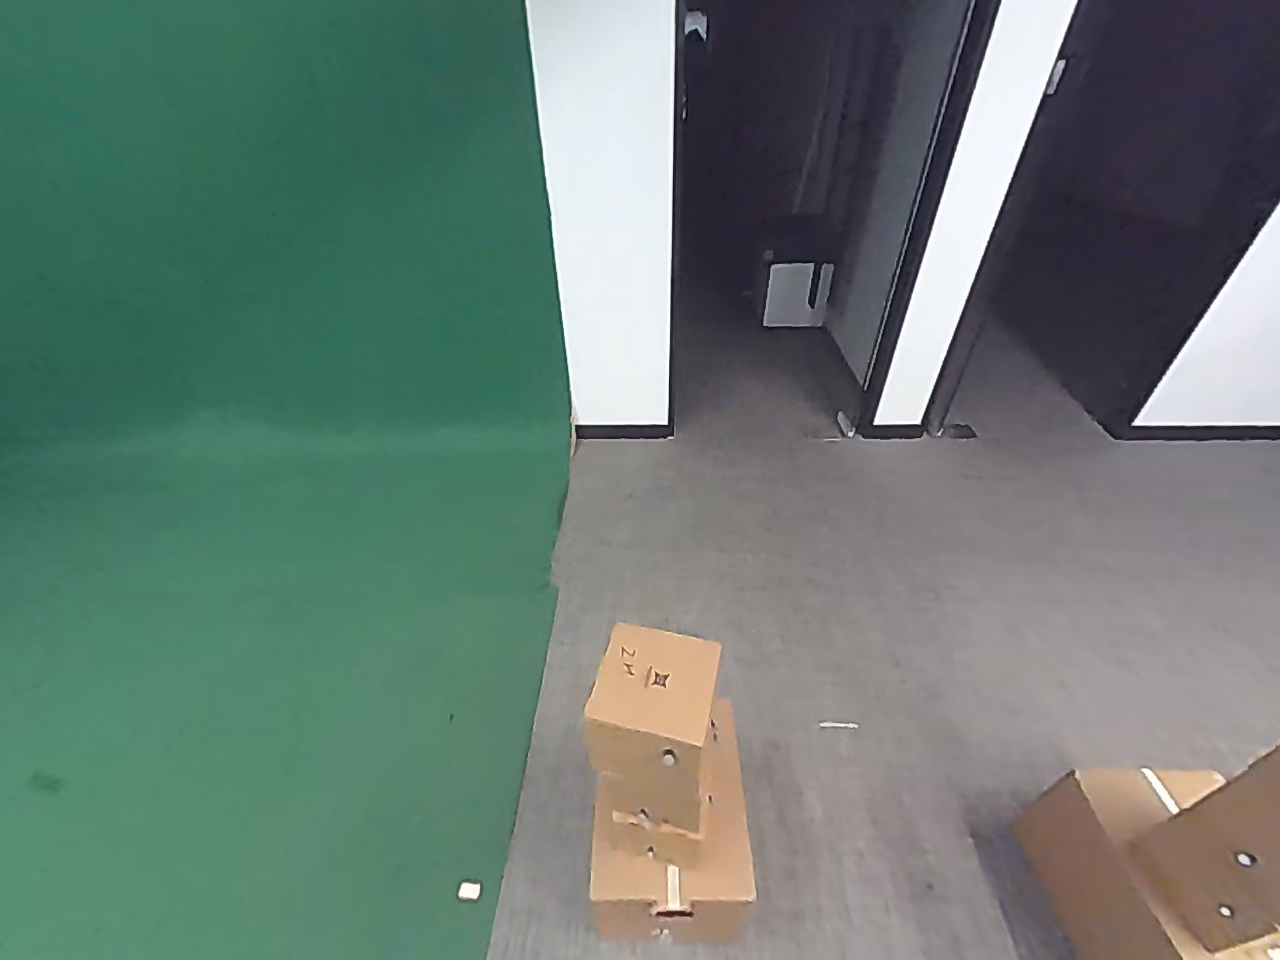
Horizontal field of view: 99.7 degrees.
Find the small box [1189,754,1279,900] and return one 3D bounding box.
[{"bbox_3d":[1.042,0.537,0.837,0.168,0.176,0.179,-7,41,-4],"label":"small box"}]

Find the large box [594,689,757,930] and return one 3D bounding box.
[{"bbox_3d":[0.072,0.753,1.255,0.320,0.320,0.408,-1,39,1],"label":"large box"}]

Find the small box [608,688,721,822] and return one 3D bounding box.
[{"bbox_3d":[0.047,0.469,0.963,0.168,0.176,0.179,8,42,13],"label":"small box"}]

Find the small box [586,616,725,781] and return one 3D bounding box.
[{"bbox_3d":[0.031,0.346,0.855,0.179,0.176,0.168,8,41,14],"label":"small box"}]

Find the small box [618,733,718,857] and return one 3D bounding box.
[{"bbox_3d":[0.057,0.600,1.060,0.168,0.176,0.179,6,41,10],"label":"small box"}]
